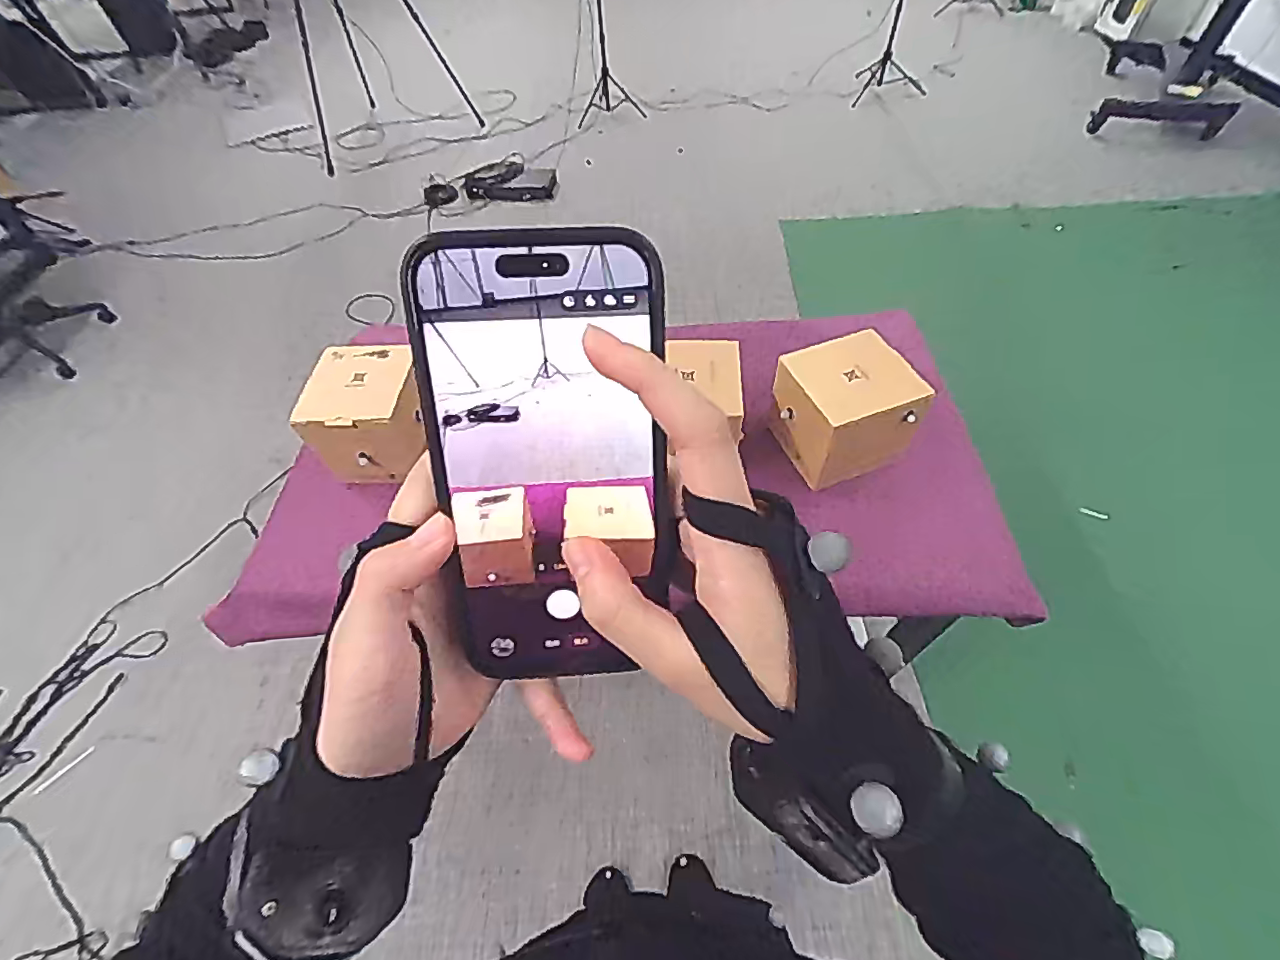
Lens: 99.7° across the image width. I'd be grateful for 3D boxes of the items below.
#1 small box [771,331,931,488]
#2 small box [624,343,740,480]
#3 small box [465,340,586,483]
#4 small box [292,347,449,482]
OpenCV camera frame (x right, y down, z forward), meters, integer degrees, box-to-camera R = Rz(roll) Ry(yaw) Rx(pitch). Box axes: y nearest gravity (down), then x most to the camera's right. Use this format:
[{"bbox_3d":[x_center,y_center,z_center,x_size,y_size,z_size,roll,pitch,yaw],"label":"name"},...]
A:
[{"bbox_3d":[0.331,-0.112,0.896,0.179,0.176,0.168,-18,54,-9],"label":"small box"},{"bbox_3d":[0.074,-0.112,0.915,0.179,0.176,0.168,2,55,5],"label":"small box"},{"bbox_3d":[-0.186,-0.115,0.933,0.168,0.176,0.179,-5,55,1],"label":"small box"},{"bbox_3d":[-0.454,-0.109,0.946,0.168,0.176,0.179,0,55,3],"label":"small box"}]
